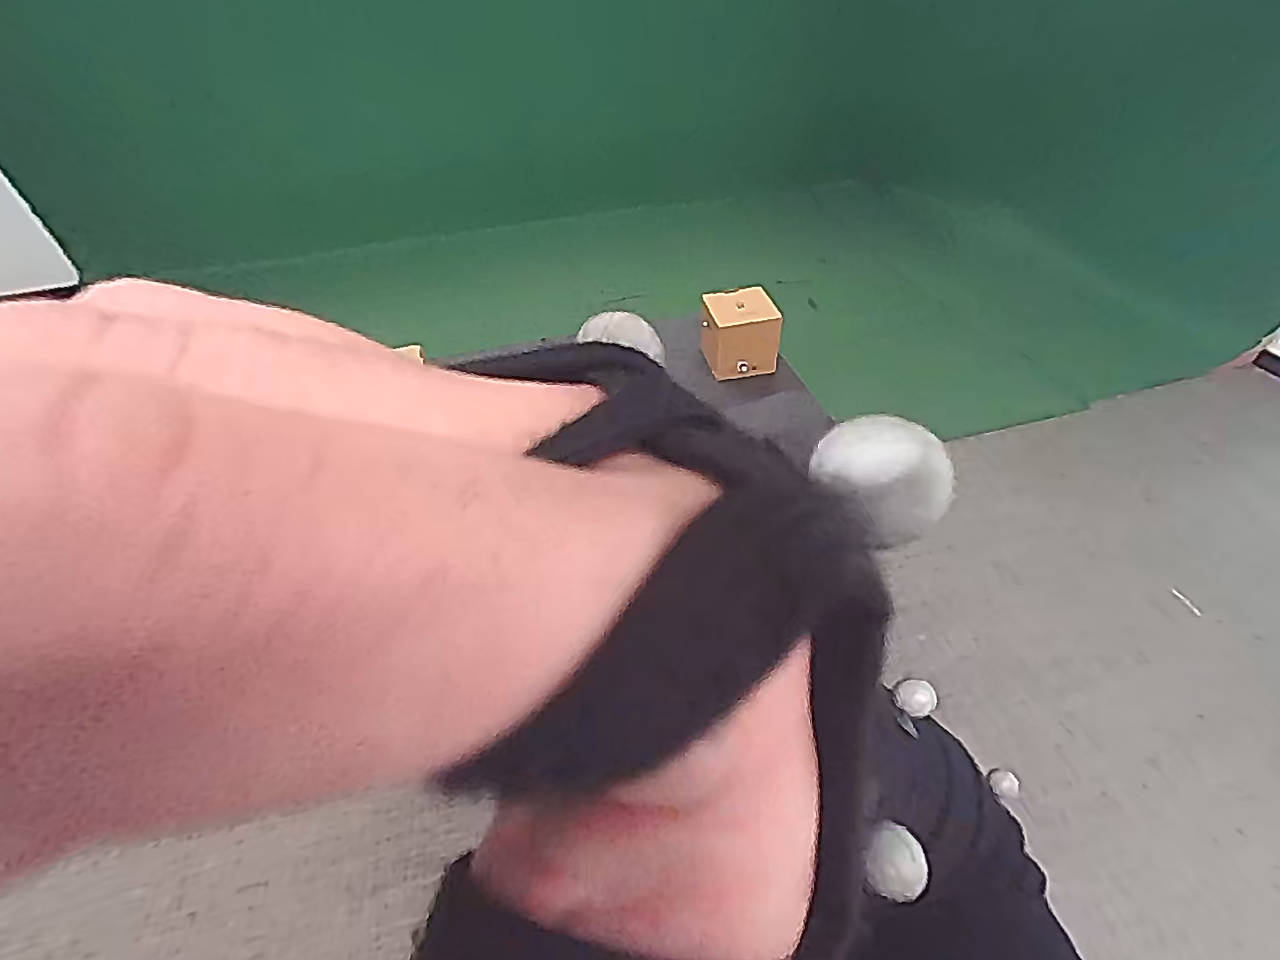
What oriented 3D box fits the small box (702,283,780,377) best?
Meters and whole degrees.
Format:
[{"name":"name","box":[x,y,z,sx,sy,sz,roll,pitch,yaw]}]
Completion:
[{"name":"small box","box":[0.261,-0.398,1.438,0.168,0.176,0.179,-10,46,-1]}]
